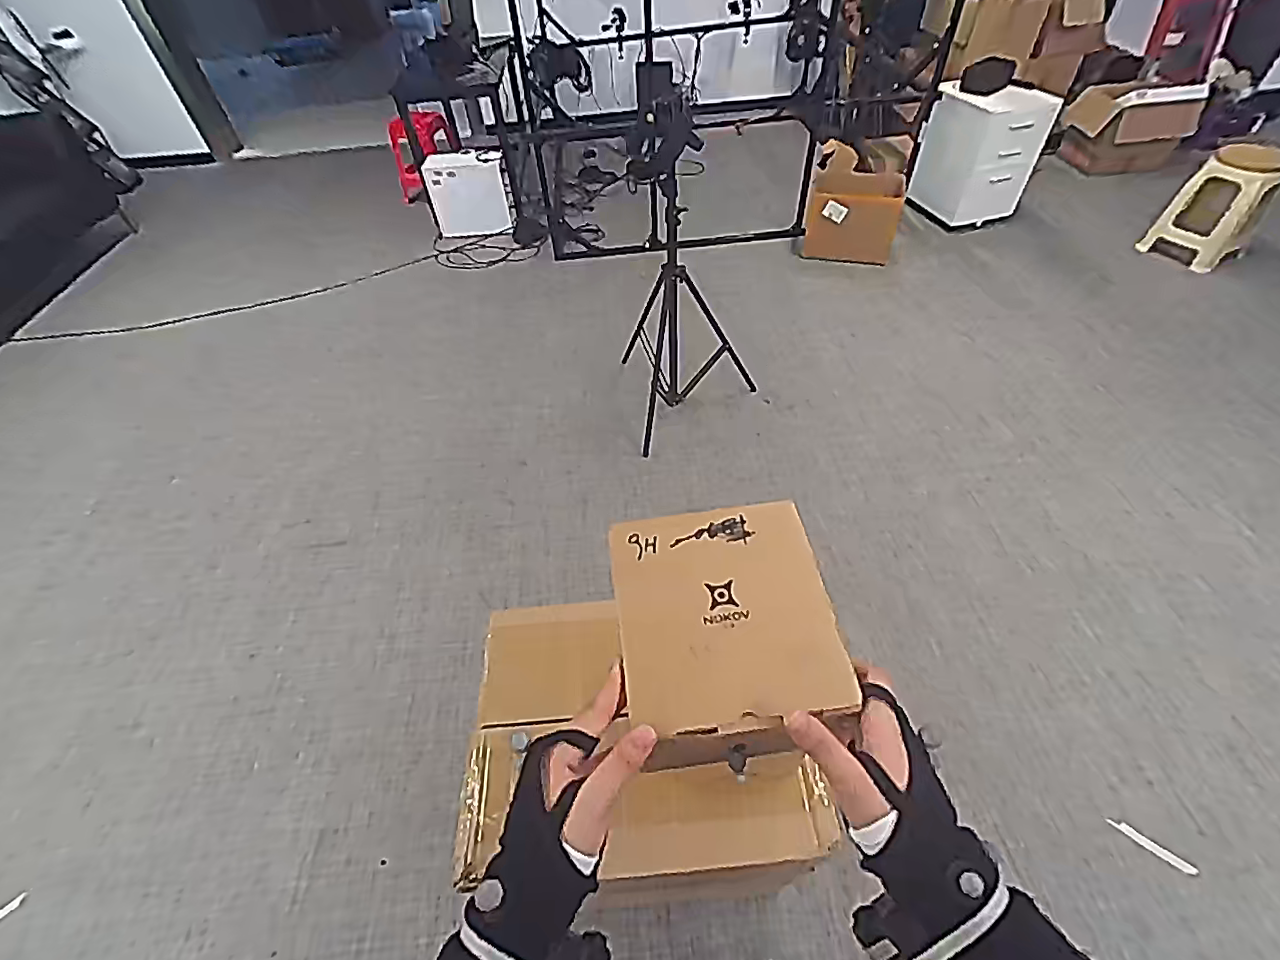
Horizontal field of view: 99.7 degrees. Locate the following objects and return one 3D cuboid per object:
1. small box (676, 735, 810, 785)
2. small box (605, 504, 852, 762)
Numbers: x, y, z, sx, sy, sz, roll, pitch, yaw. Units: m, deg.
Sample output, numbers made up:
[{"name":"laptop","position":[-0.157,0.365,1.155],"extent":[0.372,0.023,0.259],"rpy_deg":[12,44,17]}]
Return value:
[{"name":"small box","position":[0.125,0.312,0.768],"extent":[0.168,0.176,0.179],"rpy_deg":[-6,50,0]},{"name":"small box","position":[0.063,0.146,0.490],"extent":[0.168,0.176,0.179],"rpy_deg":[-7,56,-3]}]
